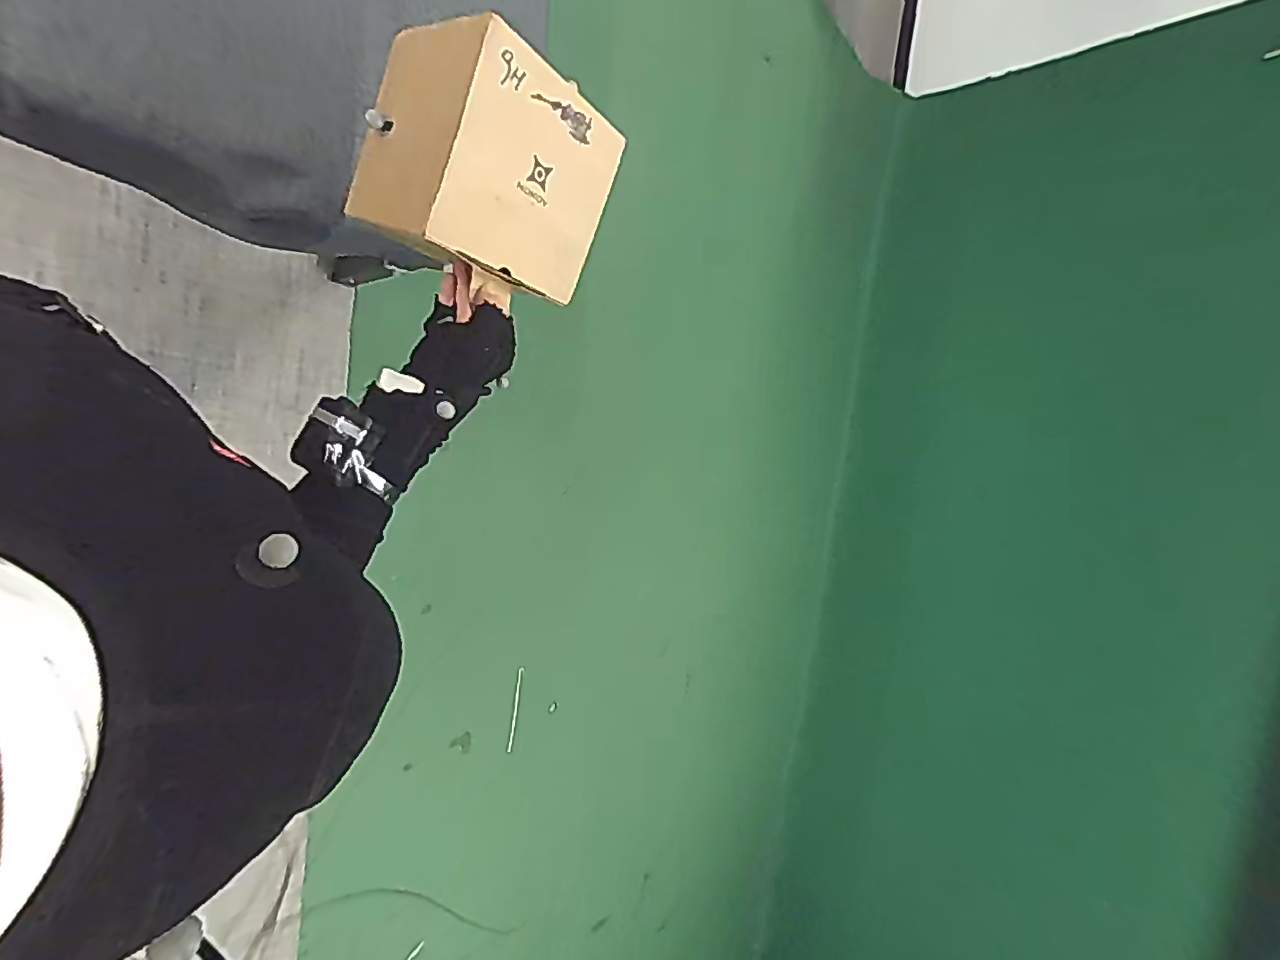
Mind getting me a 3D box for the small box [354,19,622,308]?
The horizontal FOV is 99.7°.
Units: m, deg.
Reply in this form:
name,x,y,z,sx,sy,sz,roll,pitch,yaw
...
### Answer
name,x,y,z,sx,sy,sz,roll,pitch,yaw
small box,-0.154,-0.298,0.534,0.168,0.176,0.179,9,108,-53
